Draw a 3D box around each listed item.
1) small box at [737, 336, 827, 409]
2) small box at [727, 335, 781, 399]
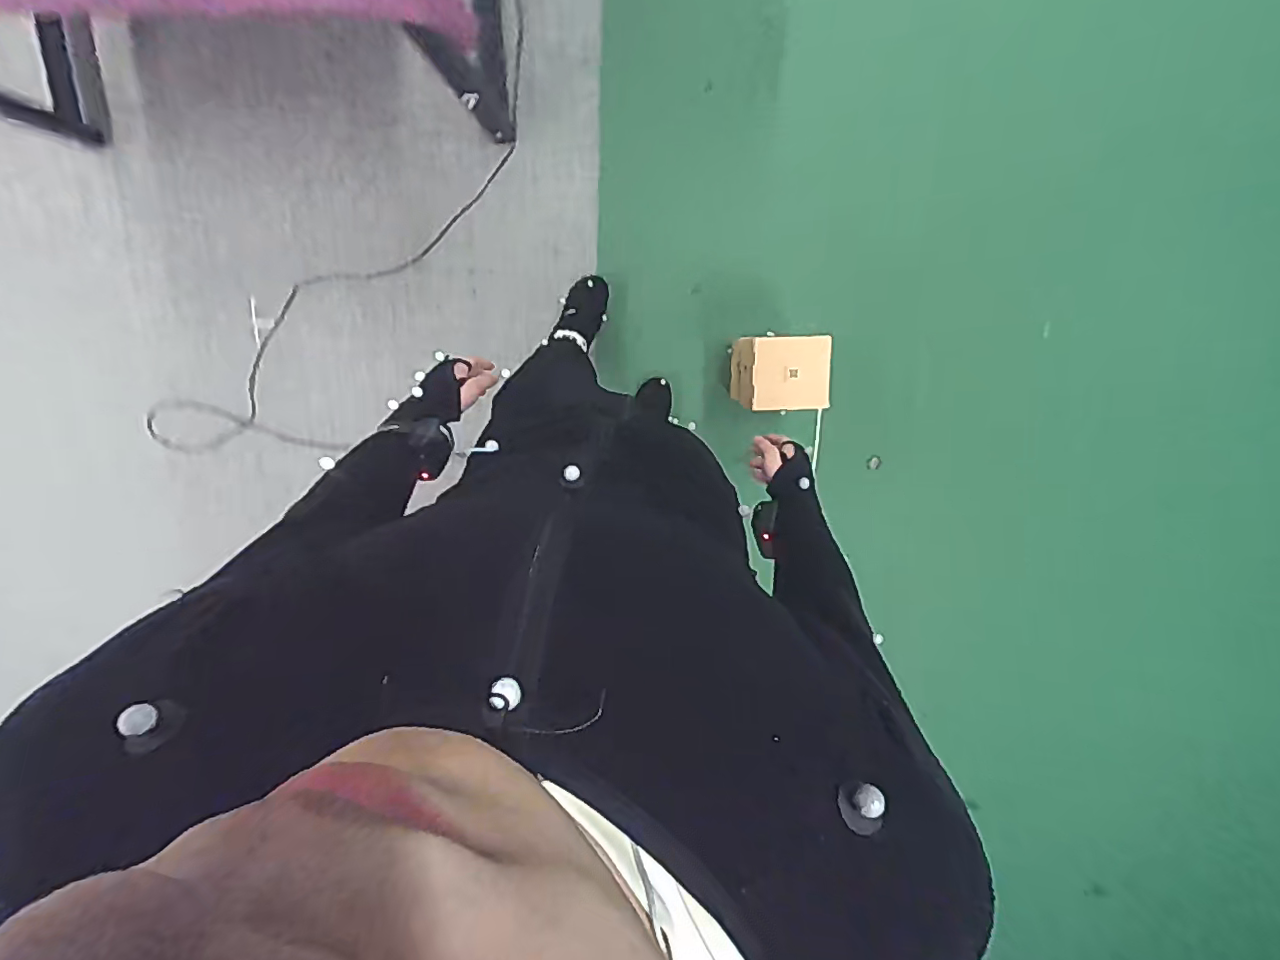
[{"bbox_3d":[0.336,-0.263,1.308,0.179,0.176,0.168,-1,104,2],"label":"small box"},{"bbox_3d":[0.333,-0.304,1.465,0.179,0.176,0.168,0,103,1],"label":"small box"}]
